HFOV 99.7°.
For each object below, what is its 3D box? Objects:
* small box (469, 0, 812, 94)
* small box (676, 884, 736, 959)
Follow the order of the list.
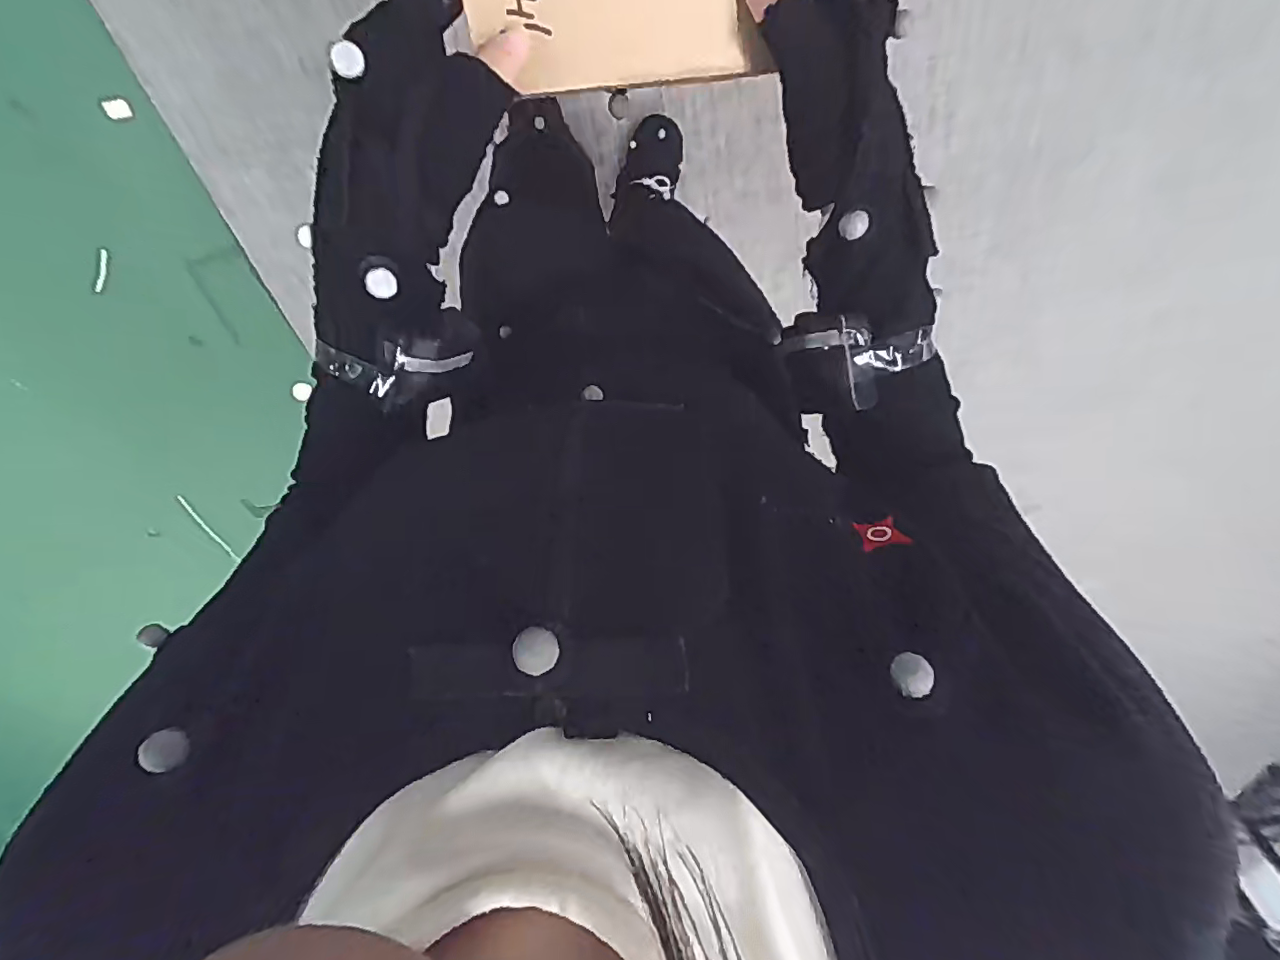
[{"bbox_3d":[-0.014,-0.323,0.302,0.179,0.176,0.168,-9,125,-6],"label":"small box"},{"bbox_3d":[0.215,1.471,1.794,0.179,0.176,0.168,-10,128,5],"label":"small box"}]
